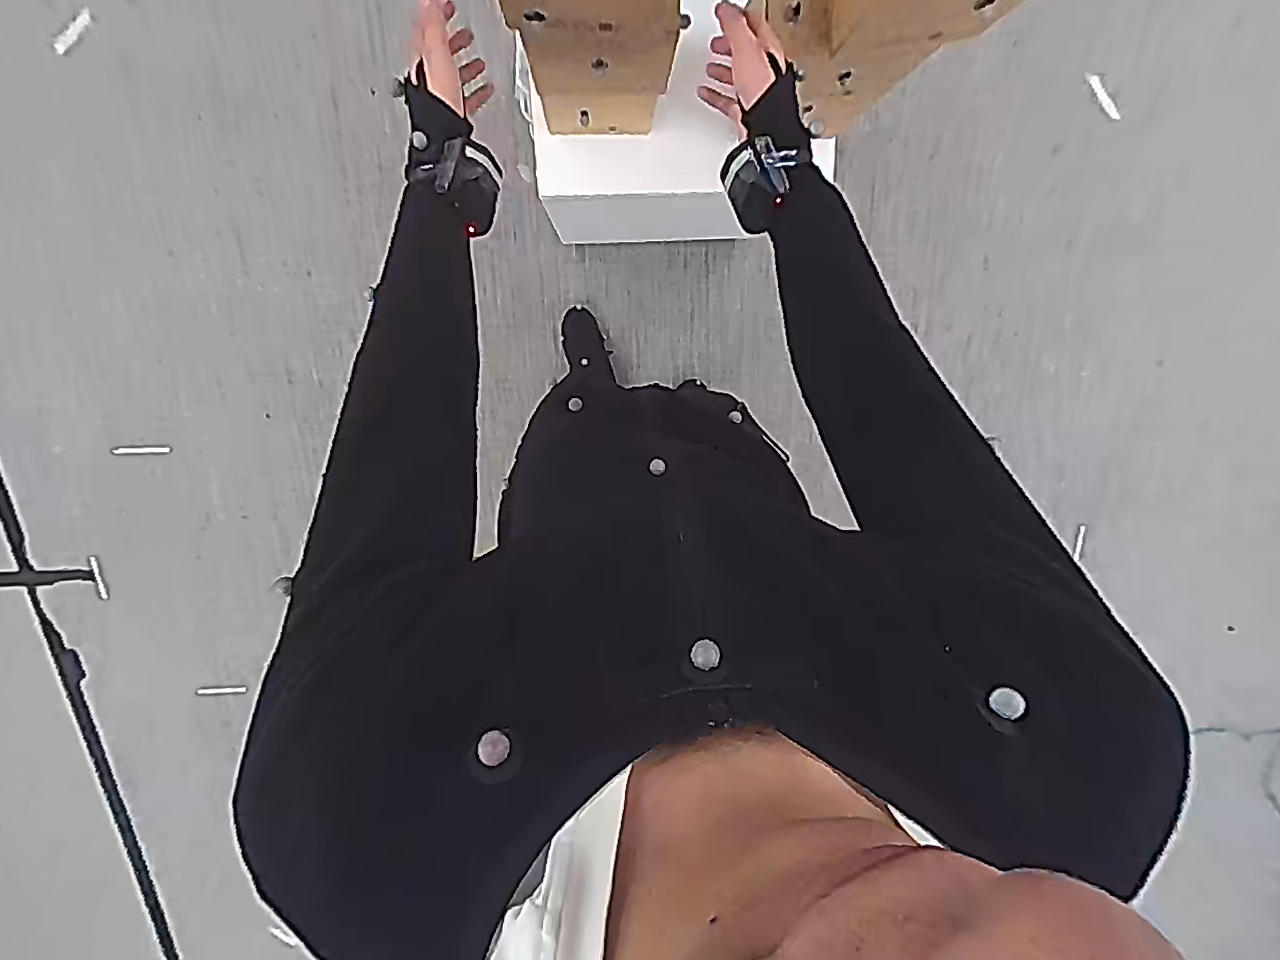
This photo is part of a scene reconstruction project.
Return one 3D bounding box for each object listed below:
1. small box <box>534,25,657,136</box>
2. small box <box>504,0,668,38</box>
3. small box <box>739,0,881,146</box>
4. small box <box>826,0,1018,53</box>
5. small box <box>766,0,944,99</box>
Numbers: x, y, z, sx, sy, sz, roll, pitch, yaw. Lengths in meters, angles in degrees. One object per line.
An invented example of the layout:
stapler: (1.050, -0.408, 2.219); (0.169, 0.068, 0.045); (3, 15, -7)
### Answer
small box: (-0.063, -0.623, 0.787); (0.168, 0.176, 0.179); (-2, 105, -4)
small box: (-0.049, -0.530, 0.472); (0.168, 0.176, 0.179); (1, 104, -4)
small box: (0.245, -0.626, 0.805); (0.168, 0.176, 0.179); (-5, 106, -1)
small box: (0.279, -0.528, 0.493); (0.168, 0.176, 0.179); (-9, 106, -1)
small box: (0.255, -0.582, 0.646); (0.168, 0.176, 0.179); (-4, 106, -2)
